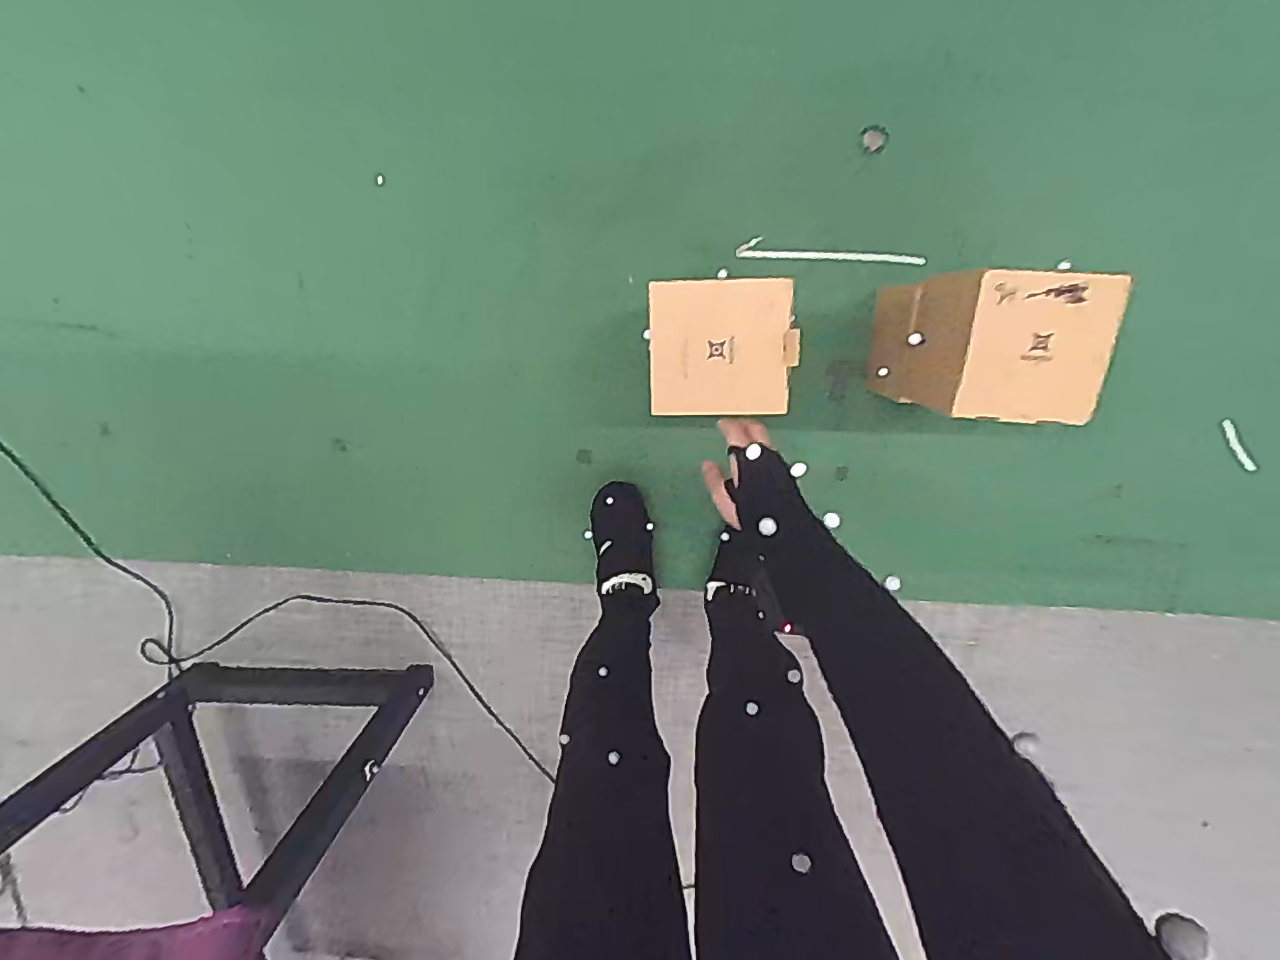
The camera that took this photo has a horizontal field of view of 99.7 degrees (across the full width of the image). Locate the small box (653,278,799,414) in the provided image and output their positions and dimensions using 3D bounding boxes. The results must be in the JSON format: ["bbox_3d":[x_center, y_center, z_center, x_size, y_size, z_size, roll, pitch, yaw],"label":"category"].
[{"bbox_3d":[0.108,-0.185,0.741,0.179,0.176,0.168,0,106,5],"label":"small box"}]

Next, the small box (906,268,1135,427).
[{"bbox_3d":[0.476,-0.179,0.713,0.168,0.176,0.179,4,109,2],"label":"small box"}]
